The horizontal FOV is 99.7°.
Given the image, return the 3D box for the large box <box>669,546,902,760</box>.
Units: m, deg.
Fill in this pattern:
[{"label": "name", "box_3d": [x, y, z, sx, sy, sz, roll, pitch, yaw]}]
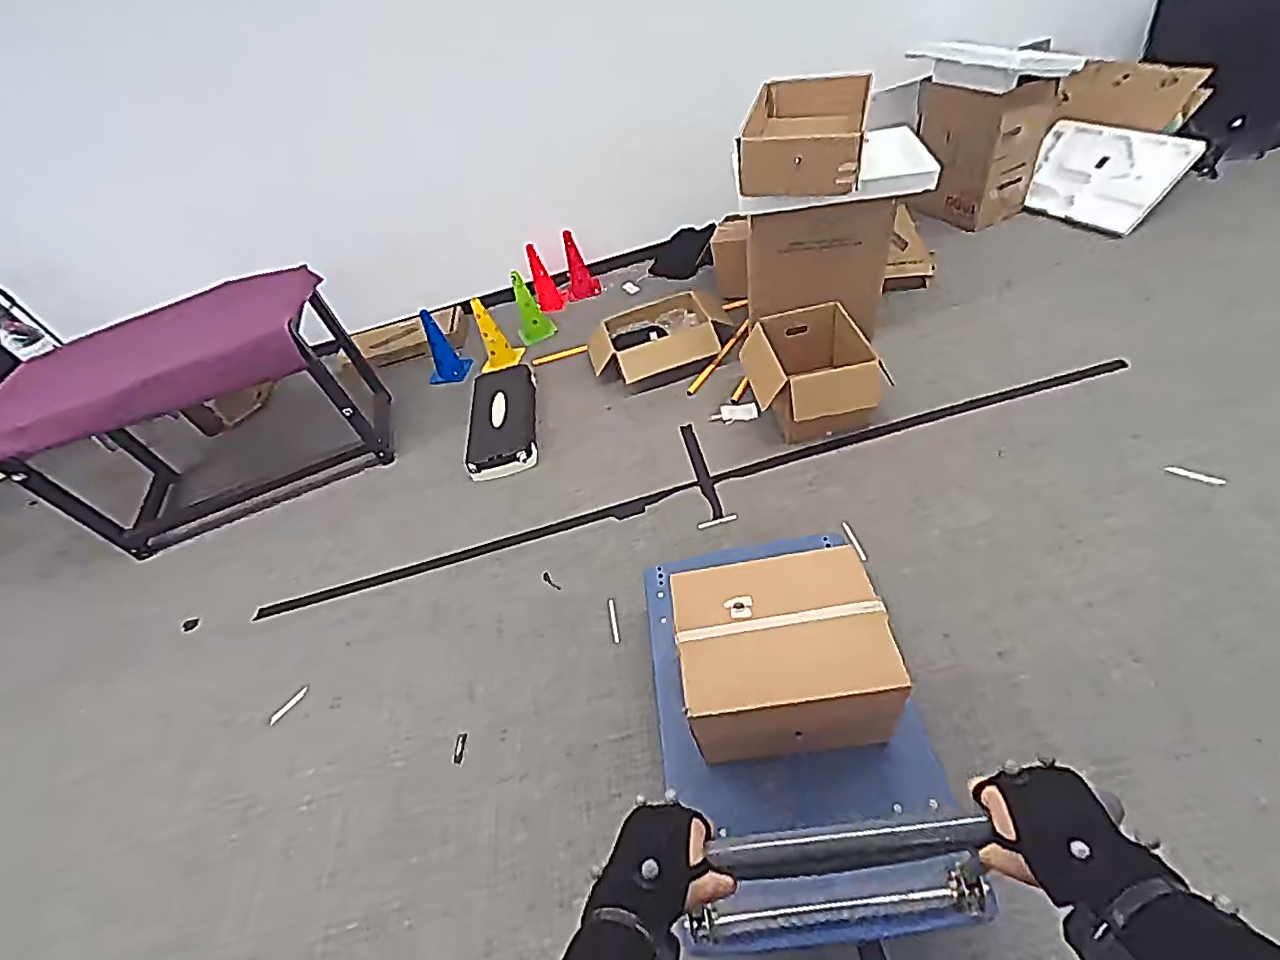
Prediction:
[{"label": "large box", "box_3d": [0.303, 0.391, 1.199, 0.408, 0.320, 0.320, -12, 45, 7]}]
